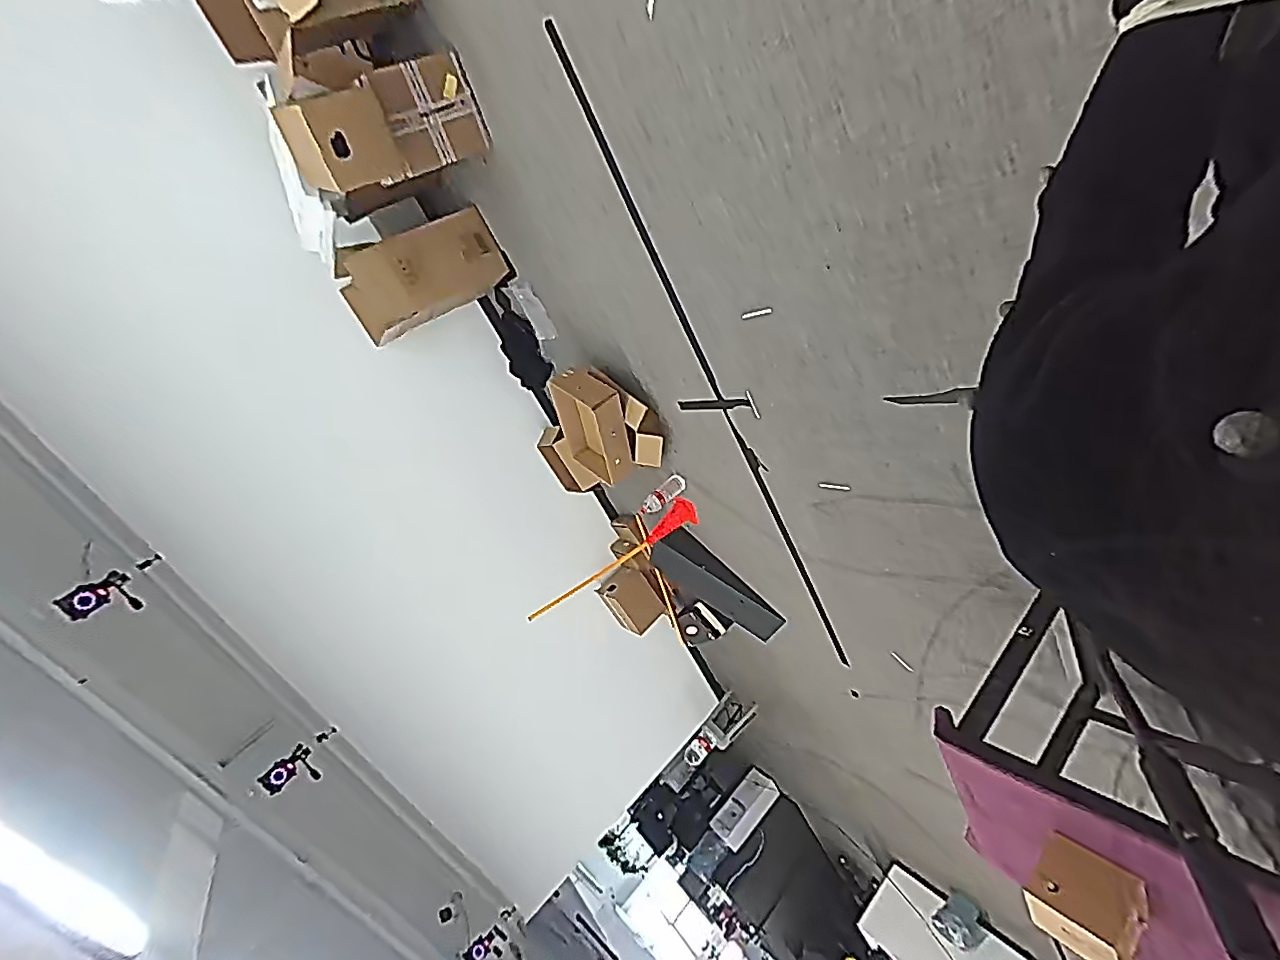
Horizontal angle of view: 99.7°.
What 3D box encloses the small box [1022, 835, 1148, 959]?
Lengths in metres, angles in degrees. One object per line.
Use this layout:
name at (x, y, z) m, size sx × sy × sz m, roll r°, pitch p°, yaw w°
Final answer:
small box at (1.032, 0.972, 1.254) m, size 0.179 × 0.176 × 0.168 m, roll 11°, pitch 135°, yaw 56°
